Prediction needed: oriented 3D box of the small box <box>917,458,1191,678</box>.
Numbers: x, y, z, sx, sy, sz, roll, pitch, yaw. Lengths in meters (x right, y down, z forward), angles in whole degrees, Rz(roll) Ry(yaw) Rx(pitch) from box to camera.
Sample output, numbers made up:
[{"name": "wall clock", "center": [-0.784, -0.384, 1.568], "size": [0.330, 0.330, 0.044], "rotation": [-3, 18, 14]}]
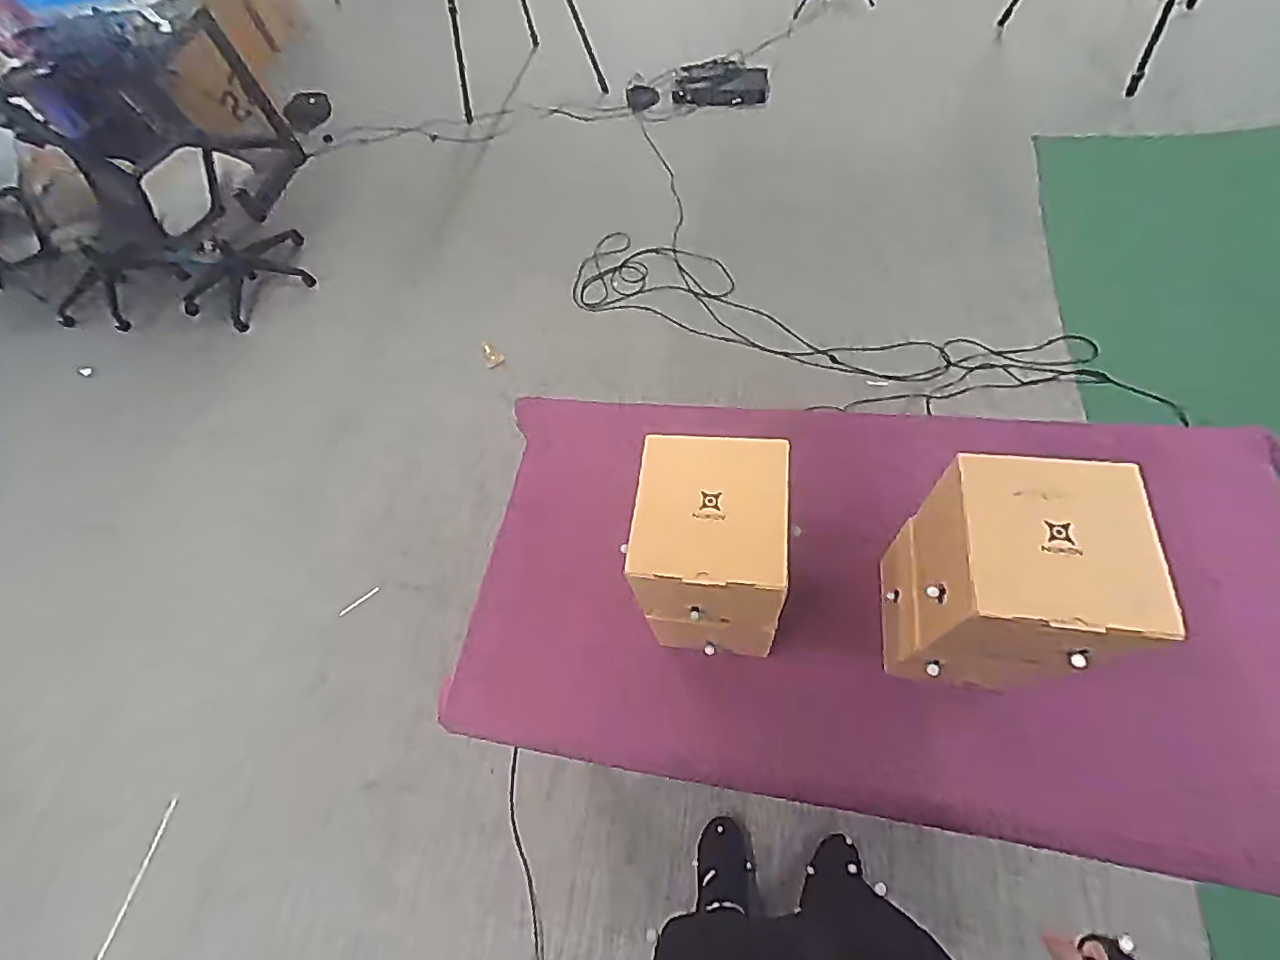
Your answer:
[{"name": "small box", "center": [0.407, 0.098, 0.572], "size": [0.168, 0.176, 0.179], "rotation": [6, 62, 12]}]

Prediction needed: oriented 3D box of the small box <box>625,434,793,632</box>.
[{"name": "small box", "center": [0.086, 0.067, 0.643], "size": [0.168, 0.176, 0.179], "rotation": [4, 63, 11]}]

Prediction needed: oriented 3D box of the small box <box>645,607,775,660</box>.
[{"name": "small box", "center": [0.109, 0.147, 0.782], "size": [0.168, 0.176, 0.179], "rotation": [4, 62, 12]}]
